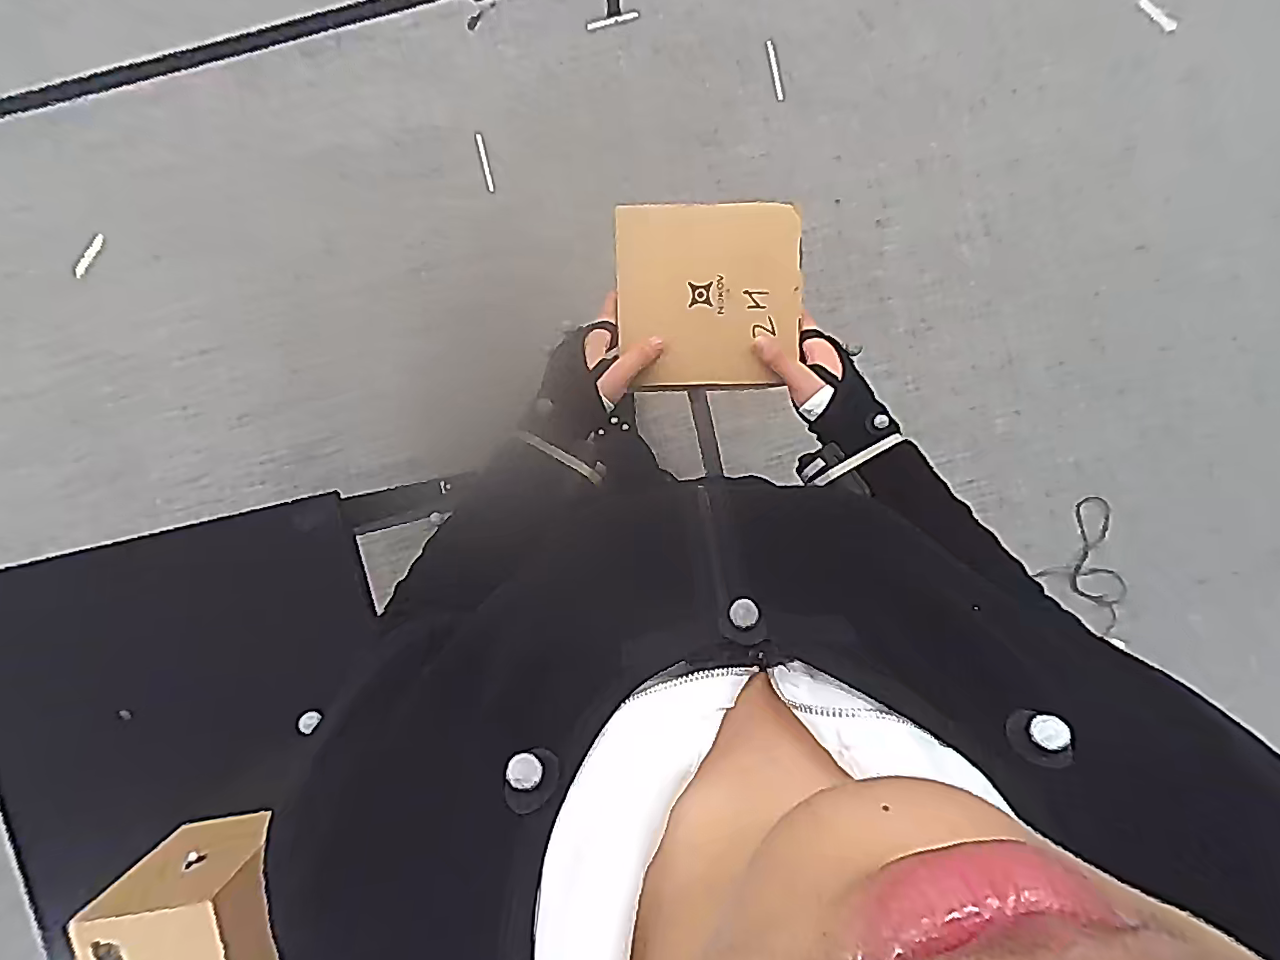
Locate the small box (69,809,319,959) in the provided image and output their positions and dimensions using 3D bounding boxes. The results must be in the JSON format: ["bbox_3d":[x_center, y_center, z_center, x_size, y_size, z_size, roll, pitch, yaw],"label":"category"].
[{"bbox_3d":[-0.568,0.575,0.713,0.179,0.176,0.168,-10,94,-1],"label":"small box"}]

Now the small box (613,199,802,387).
[{"bbox_3d":[0.063,-0.188,0.587,0.179,0.176,0.168,-1,98,-1],"label":"small box"}]
